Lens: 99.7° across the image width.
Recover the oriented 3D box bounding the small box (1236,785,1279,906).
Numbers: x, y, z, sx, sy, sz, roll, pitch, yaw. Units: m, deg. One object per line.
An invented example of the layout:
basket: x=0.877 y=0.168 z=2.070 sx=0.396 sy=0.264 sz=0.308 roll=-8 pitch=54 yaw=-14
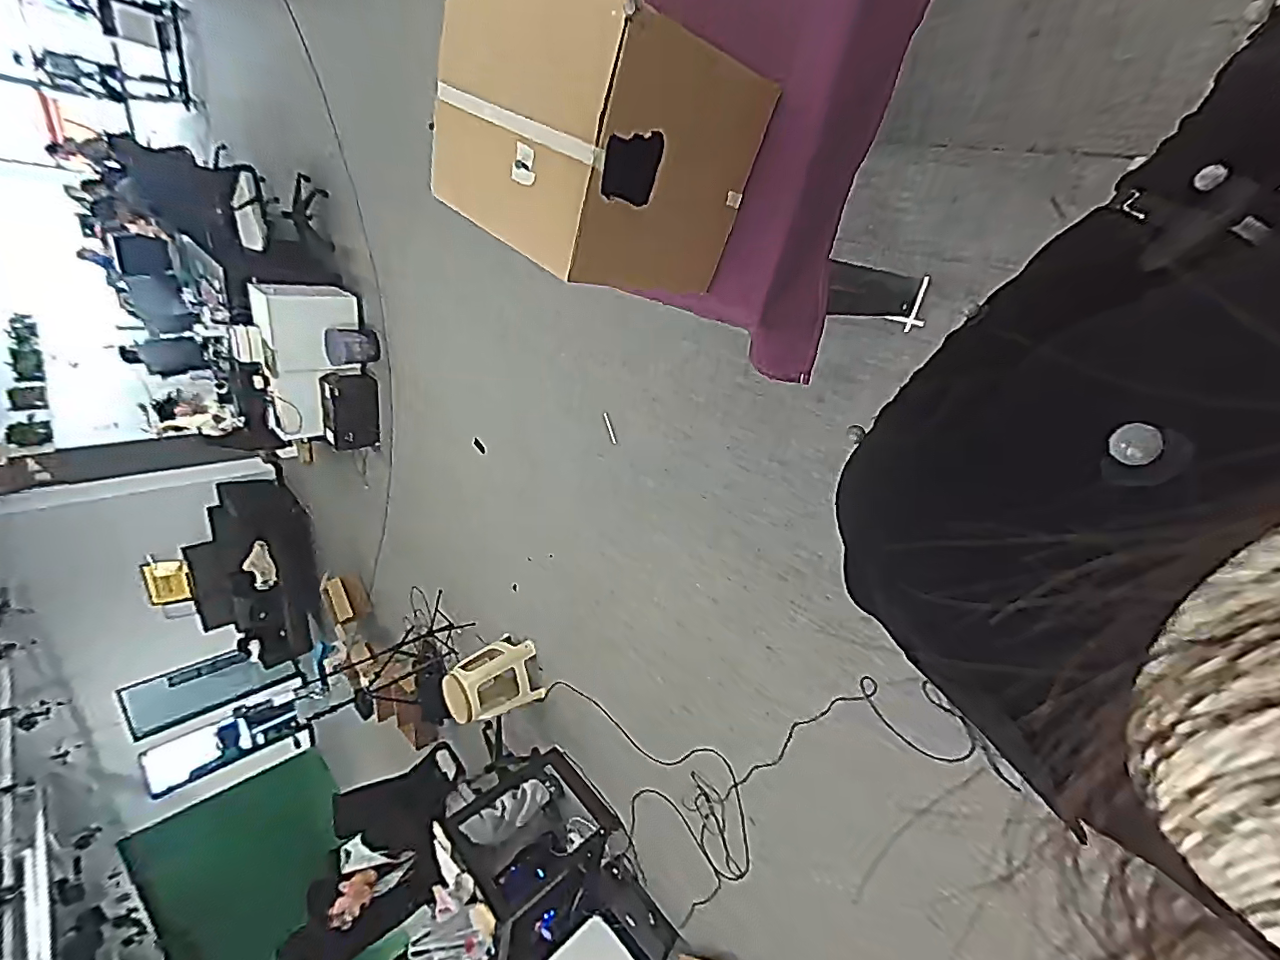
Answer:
small box: x=1.253 y=0.688 z=0.967 sx=0.179 sy=0.176 sz=0.168 roll=15 pitch=133 yaw=23
